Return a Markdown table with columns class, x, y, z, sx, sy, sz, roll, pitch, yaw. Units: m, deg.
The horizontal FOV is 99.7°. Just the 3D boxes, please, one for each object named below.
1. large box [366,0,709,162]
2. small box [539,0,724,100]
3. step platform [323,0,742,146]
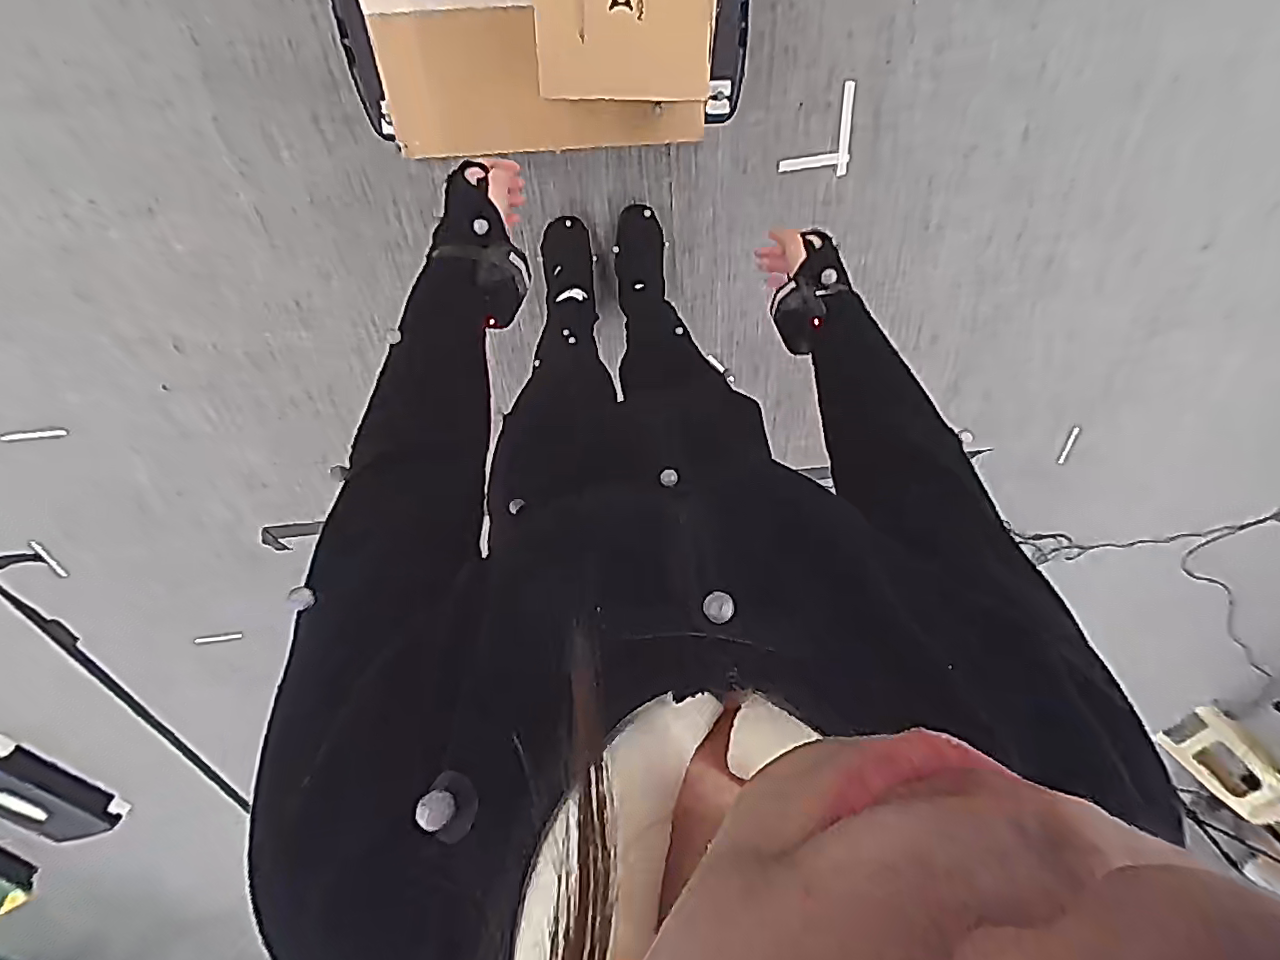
| class | x | y | z | sx | sy | sz | roll | pitch | yaw |
| --- | --- | --- | --- | --- | --- | --- | --- | --- | --- |
| large box | -0.127 | -0.646 | 0.745 | 0.408 | 0.320 | 0.320 | -5 | 125 | -3 |
| small box | -0.015 | -0.500 | 0.560 | 0.179 | 0.176 | 0.168 | -2 | 126 | -5 |
| step platform | -0.169 | -0.767 | 0.947 | 0.684 | 0.204 | 0.286 | -1 | 125 | -6 |
